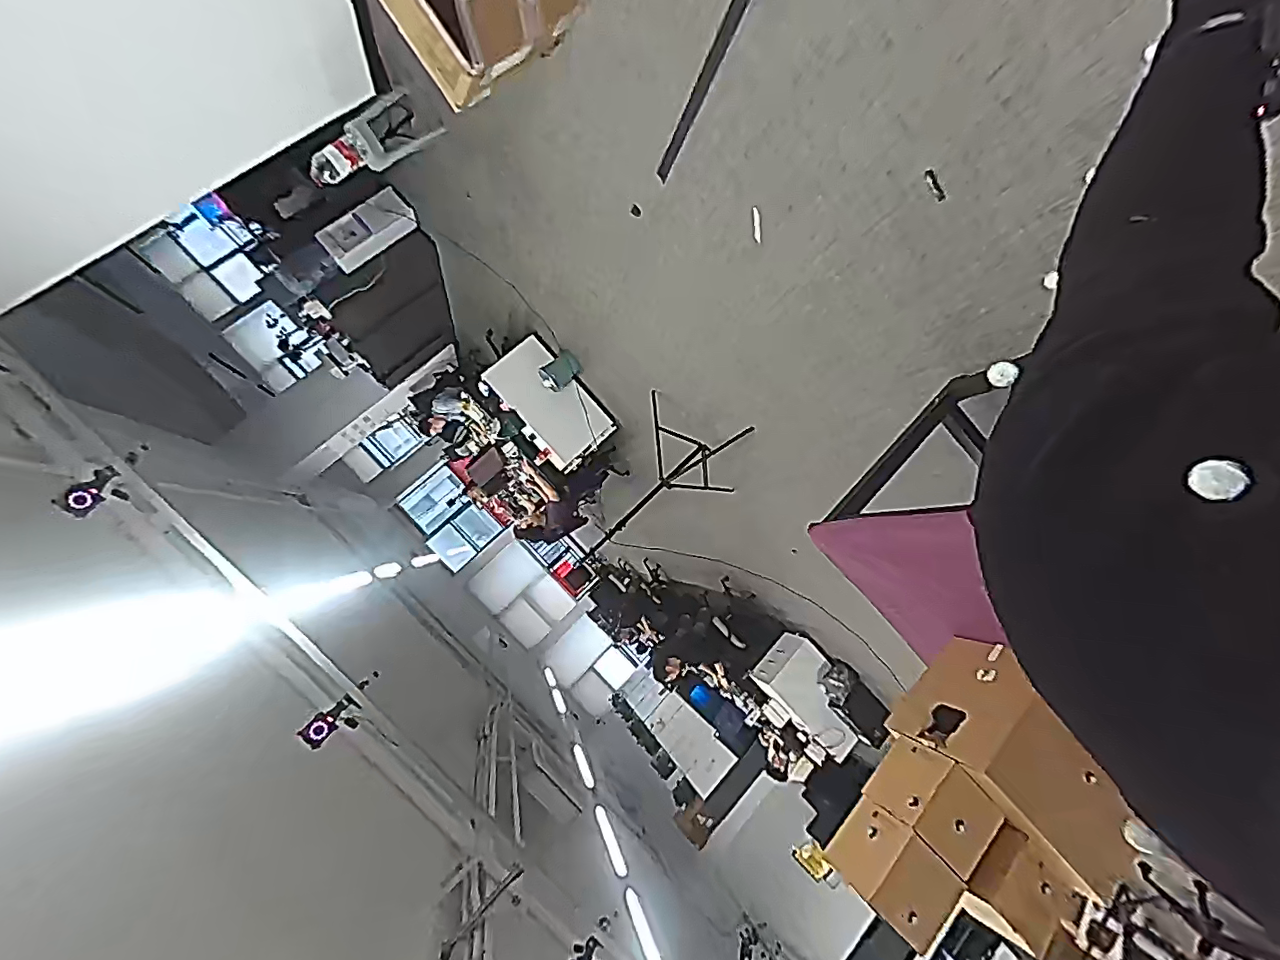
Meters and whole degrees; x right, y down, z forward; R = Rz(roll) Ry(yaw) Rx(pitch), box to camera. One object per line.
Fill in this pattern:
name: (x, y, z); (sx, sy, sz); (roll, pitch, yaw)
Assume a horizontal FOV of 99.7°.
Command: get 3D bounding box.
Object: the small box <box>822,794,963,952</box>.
small box: (0.537, 0.824, 1.152); (0.179, 0.176, 0.168); (46, 166, -6)
